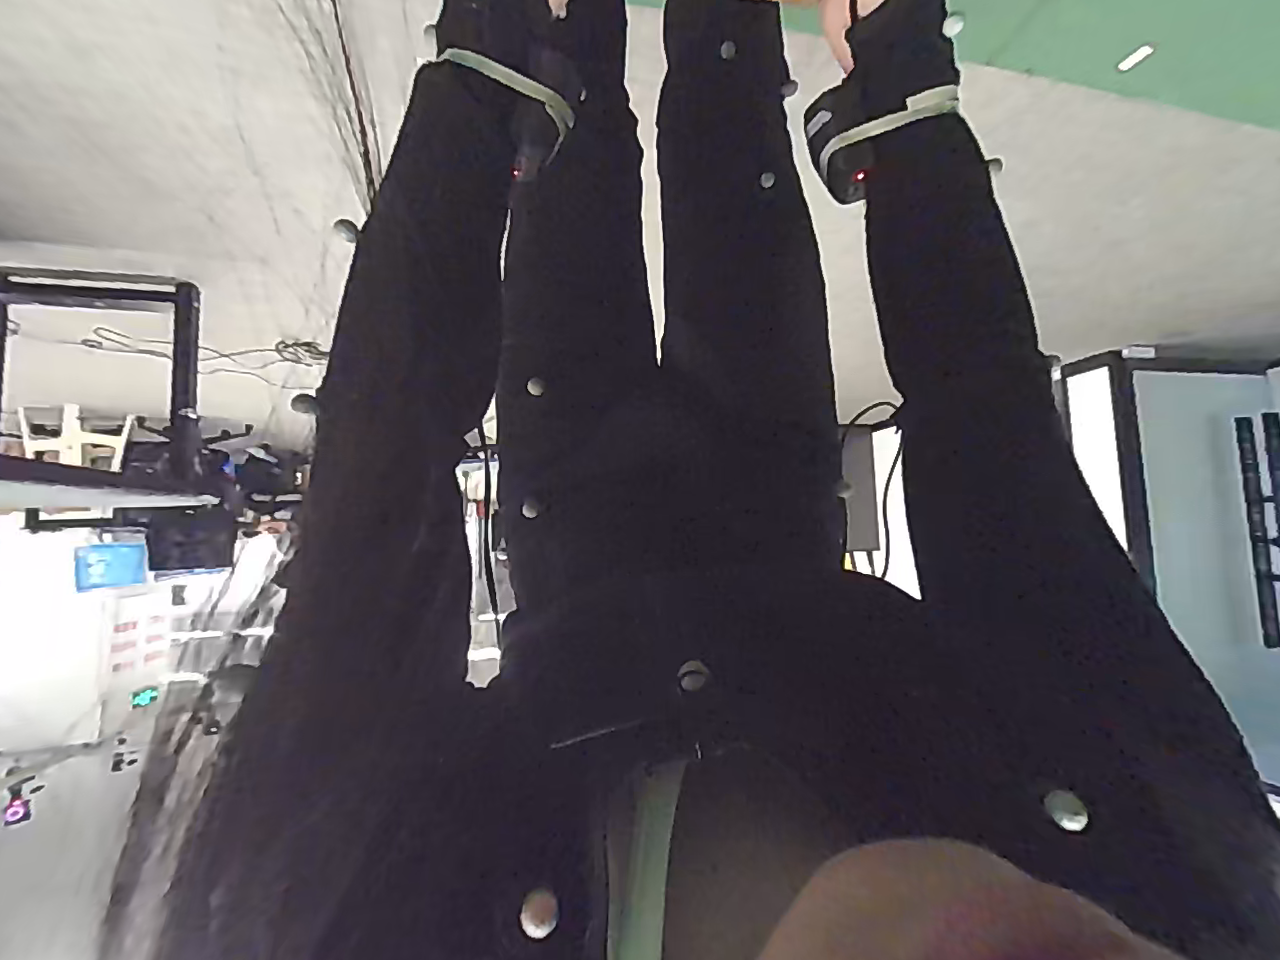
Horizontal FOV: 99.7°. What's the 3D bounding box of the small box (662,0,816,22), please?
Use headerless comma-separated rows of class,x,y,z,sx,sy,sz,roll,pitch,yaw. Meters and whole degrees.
small box,0.051,-0.415,0.295,0.168,0.176,0.179,-1,174,-12
